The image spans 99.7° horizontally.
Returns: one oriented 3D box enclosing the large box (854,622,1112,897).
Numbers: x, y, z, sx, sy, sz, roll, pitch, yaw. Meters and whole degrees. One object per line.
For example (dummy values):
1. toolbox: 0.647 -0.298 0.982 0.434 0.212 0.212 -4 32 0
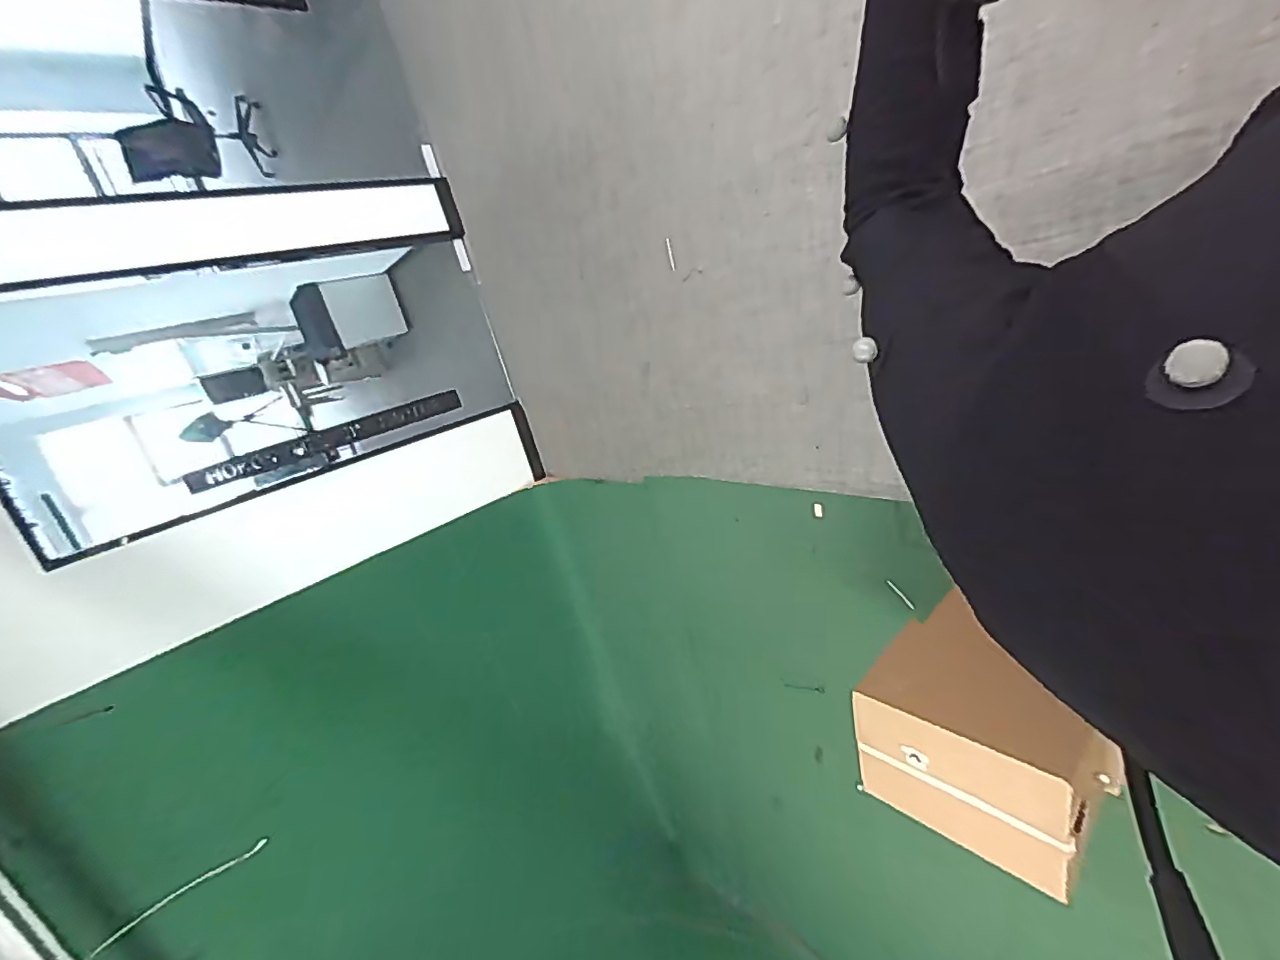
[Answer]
1. large box: 0.754 0.574 1.203 0.408 0.320 0.320 10 118 50
